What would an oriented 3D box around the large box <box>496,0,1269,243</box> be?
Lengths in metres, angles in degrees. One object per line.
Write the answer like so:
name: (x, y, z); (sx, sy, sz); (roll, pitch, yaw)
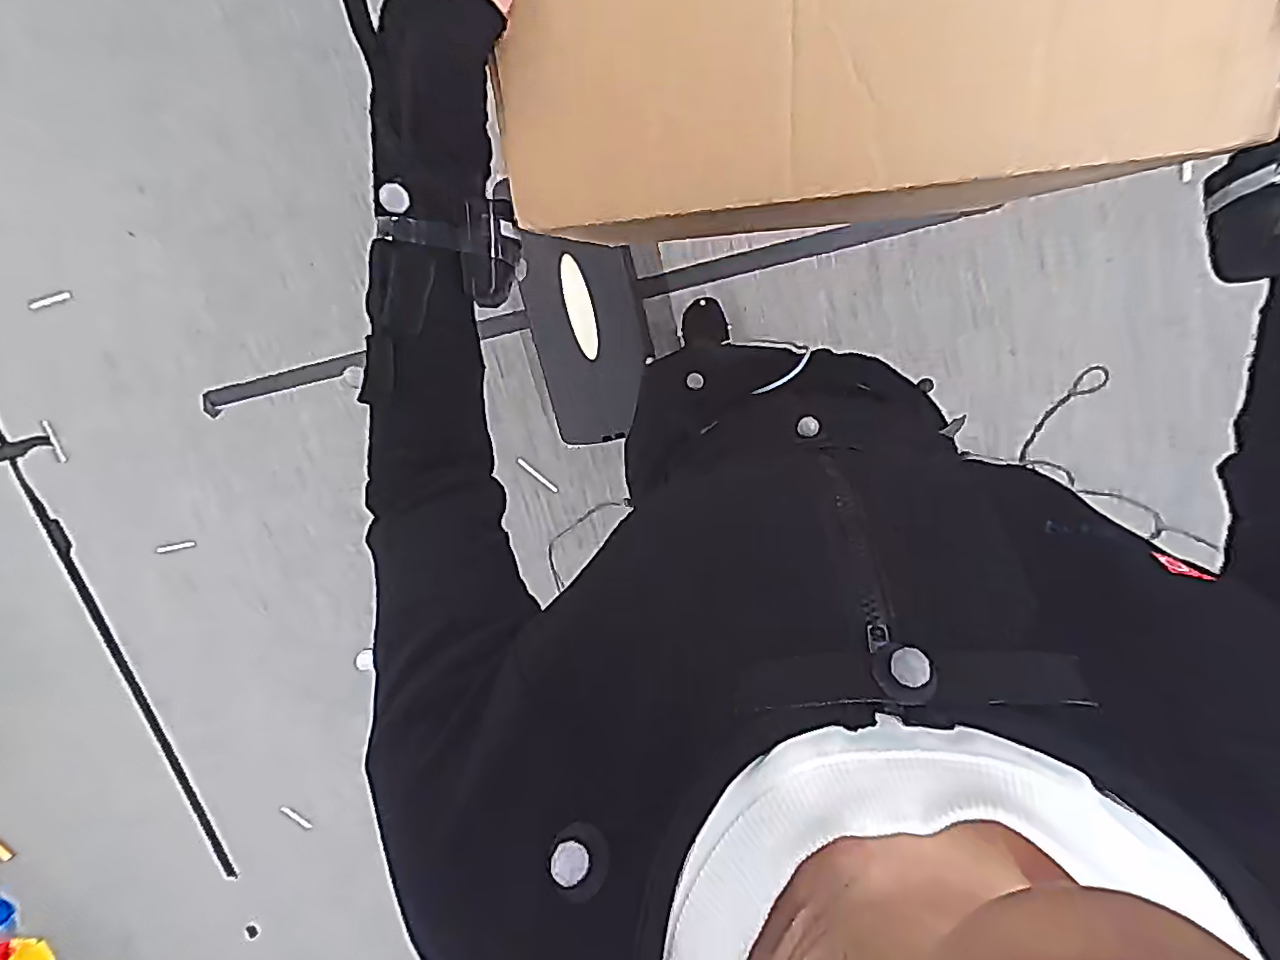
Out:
large box: (0.124, -0.373, 0.403); (0.408, 0.320, 0.320); (-3, 111, 8)
